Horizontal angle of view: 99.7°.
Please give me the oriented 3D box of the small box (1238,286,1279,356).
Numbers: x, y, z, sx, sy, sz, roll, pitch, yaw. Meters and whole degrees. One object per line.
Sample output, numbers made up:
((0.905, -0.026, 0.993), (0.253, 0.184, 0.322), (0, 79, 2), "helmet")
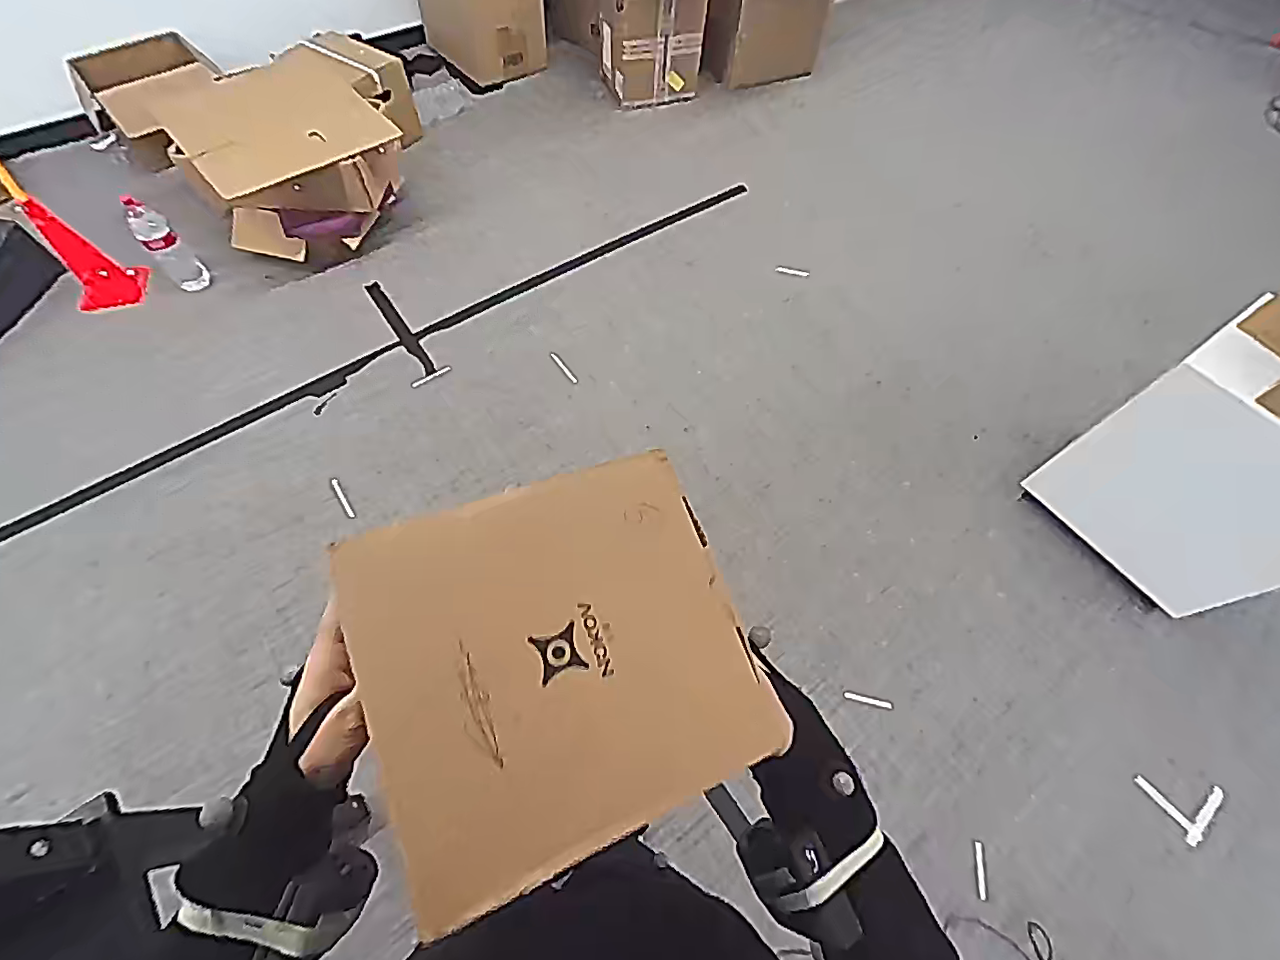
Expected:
((1.468, -0.373, 1.158), (0.179, 0.176, 0.168), (-28, 66, -16), "small box")

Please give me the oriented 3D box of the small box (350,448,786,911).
((-0.051, 0.101, 0.332), (0.179, 0.176, 0.168), (-16, 75, -20), "small box")
